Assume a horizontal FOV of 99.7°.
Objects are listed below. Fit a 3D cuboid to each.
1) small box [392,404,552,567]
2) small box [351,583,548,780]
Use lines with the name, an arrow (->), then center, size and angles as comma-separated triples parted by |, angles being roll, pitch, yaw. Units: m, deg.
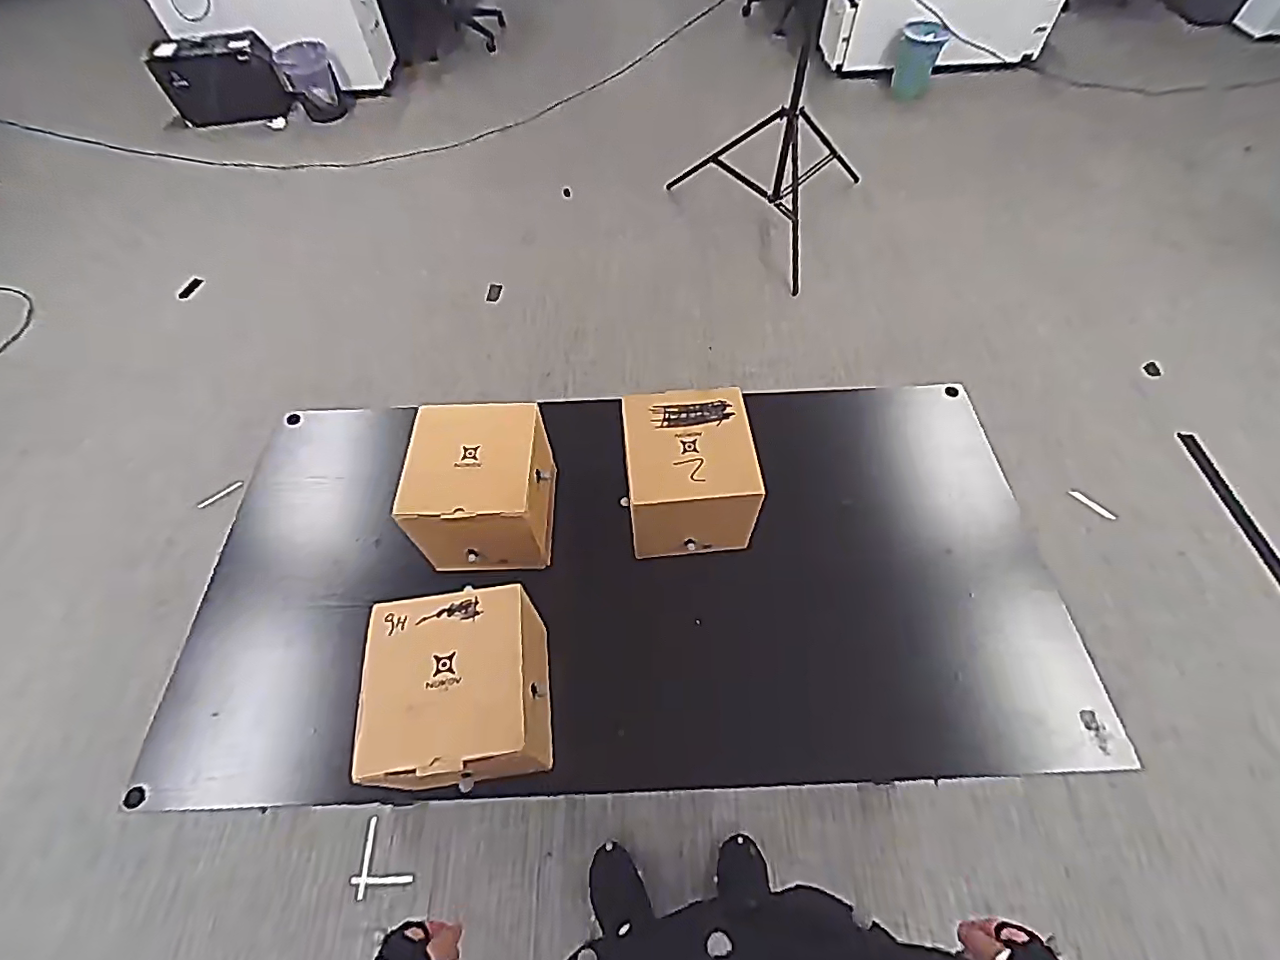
small box -> -0.222, 0.011, 0.772 | 0.168, 0.176, 0.179 | -2, 58, 1
small box -> -0.203, 0.240, 0.627 | 0.168, 0.176, 0.179 | -8, 58, -3
